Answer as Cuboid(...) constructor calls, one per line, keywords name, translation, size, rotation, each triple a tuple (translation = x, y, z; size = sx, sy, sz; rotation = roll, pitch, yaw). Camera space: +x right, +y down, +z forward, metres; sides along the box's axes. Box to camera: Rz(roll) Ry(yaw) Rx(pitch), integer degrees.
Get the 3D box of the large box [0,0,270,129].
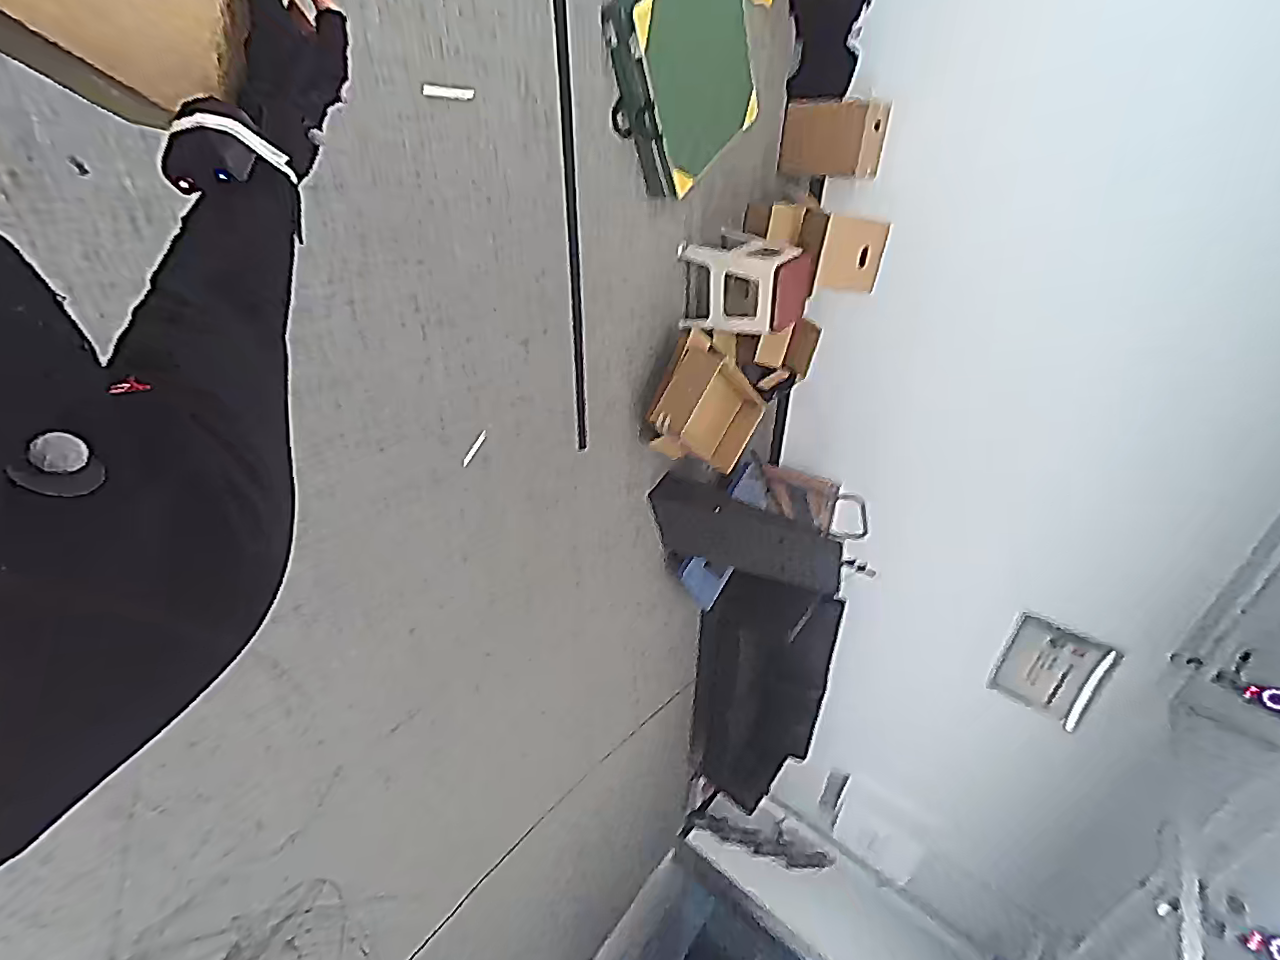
Cuboid(name="large box", translation=(-0.521, -0.532, 0.371), size=(0.408, 0.320, 0.320), rotation=(17, 101, -59))
